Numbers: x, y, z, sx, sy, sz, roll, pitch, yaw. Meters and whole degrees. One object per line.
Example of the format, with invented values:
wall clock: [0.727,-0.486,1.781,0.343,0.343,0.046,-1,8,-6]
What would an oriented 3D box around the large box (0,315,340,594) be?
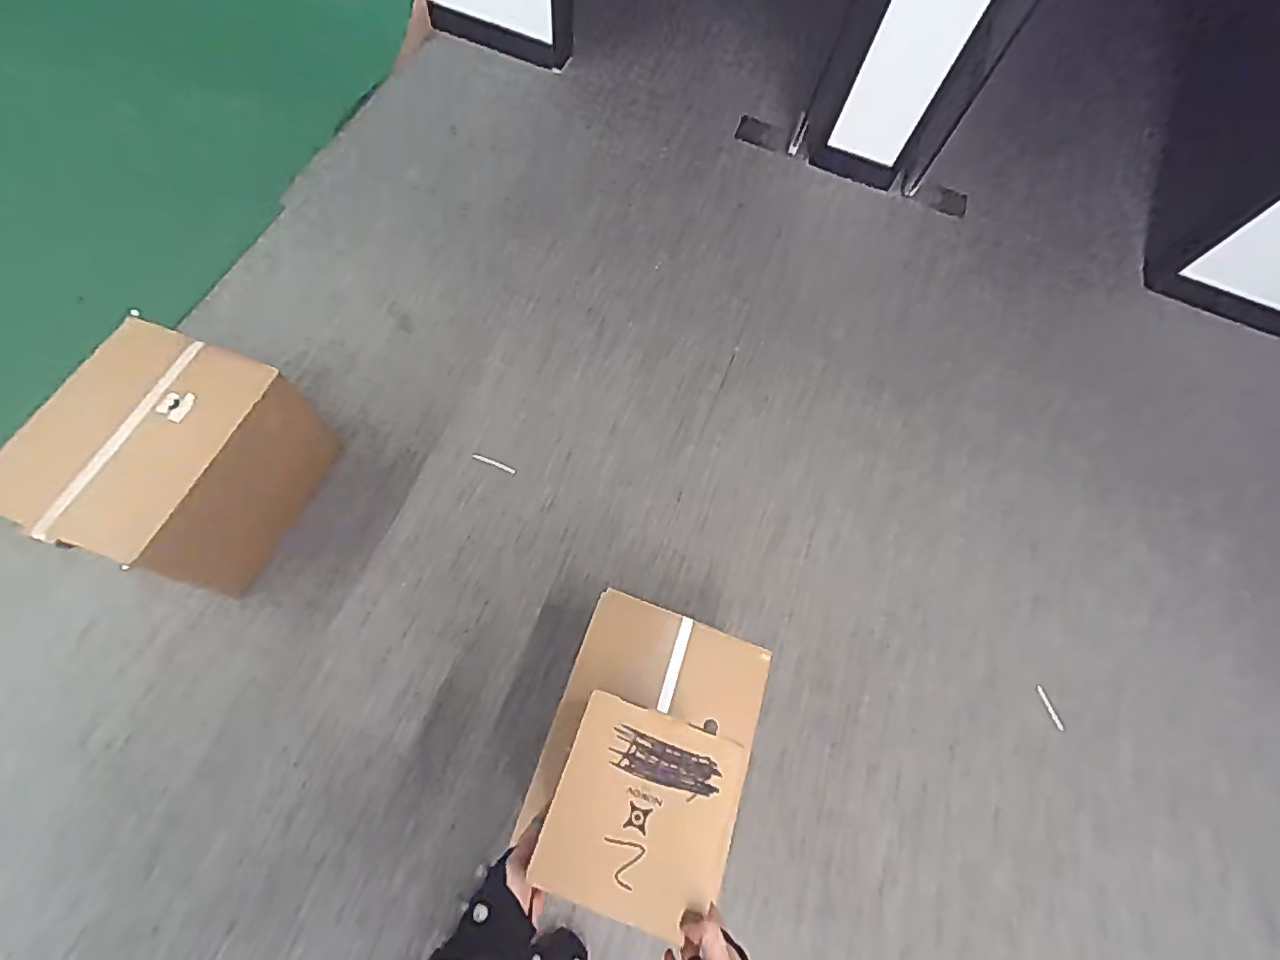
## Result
large box: [-0.894,-0.035,1.072,0.320,0.320,0.408,21,66,2]

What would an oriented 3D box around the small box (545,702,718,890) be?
small box: [-0.014,0.414,0.743,0.179,0.176,0.168,19,67,3]
